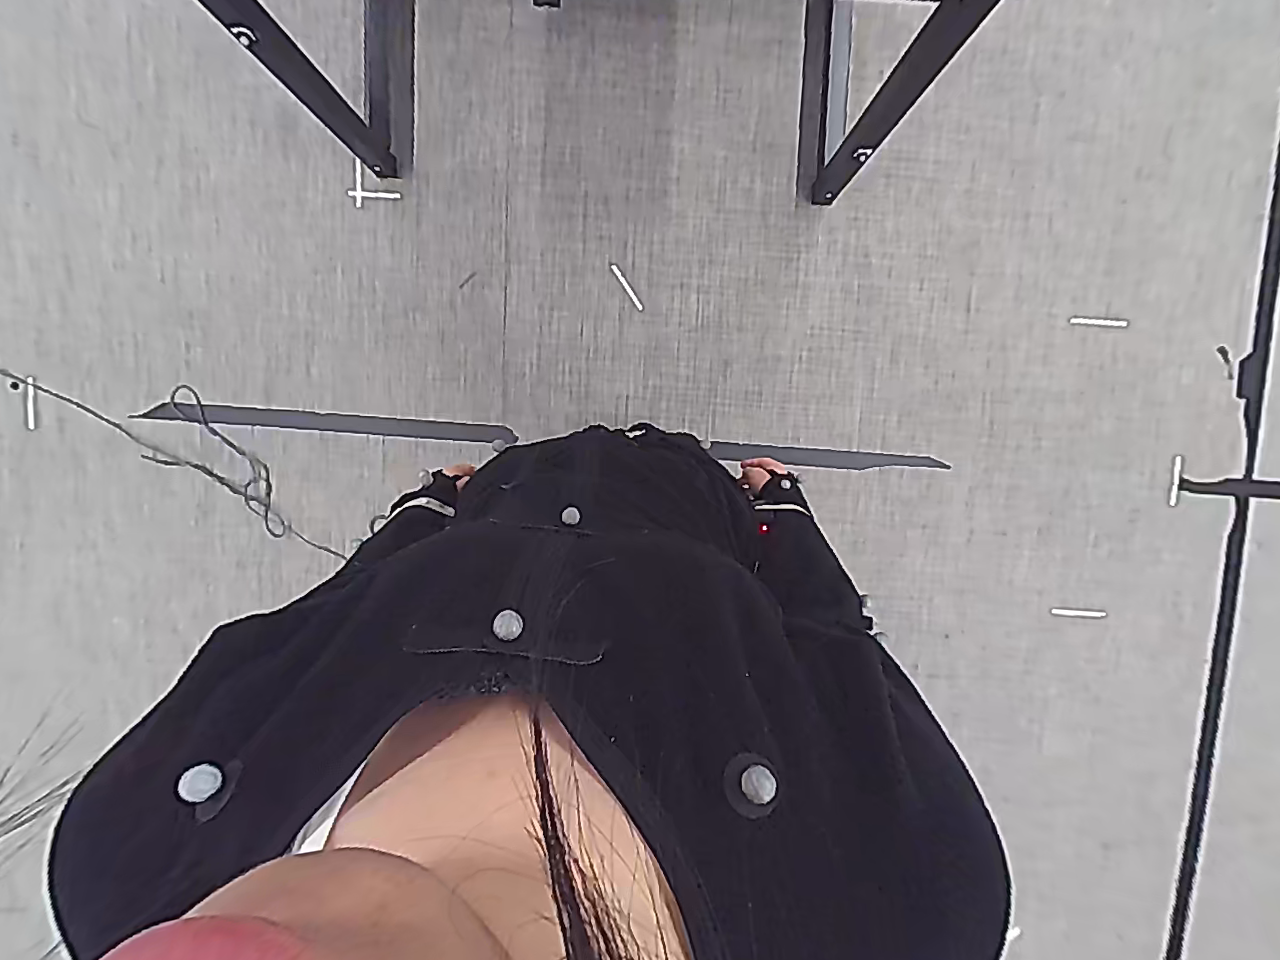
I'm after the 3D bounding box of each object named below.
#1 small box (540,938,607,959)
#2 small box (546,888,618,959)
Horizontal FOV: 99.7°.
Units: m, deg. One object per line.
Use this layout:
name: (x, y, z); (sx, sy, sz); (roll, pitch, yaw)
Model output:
small box: (-0.159, 1.291, 1.328); (0.168, 0.176, 0.179); (-10, 95, -2)
small box: (-0.156, 1.270, 1.492); (0.168, 0.176, 0.179); (-10, 94, 0)
